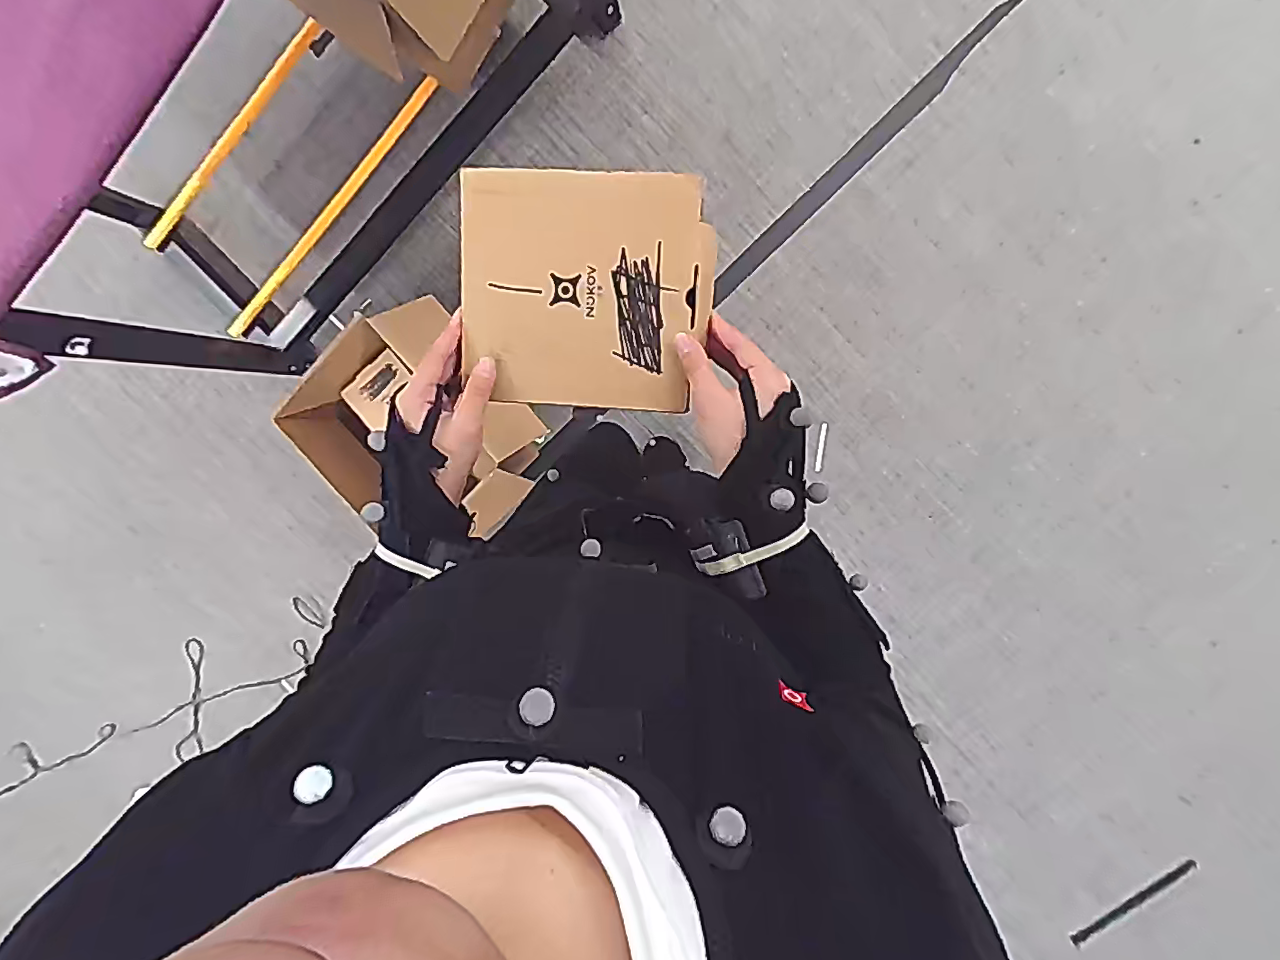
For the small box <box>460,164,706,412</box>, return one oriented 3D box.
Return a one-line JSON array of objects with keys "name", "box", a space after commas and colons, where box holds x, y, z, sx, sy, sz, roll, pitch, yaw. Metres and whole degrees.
[{"name": "small box", "box": [-0.040, -0.152, 0.471, 0.179, 0.176, 0.168, 4, 101, 4]}]
